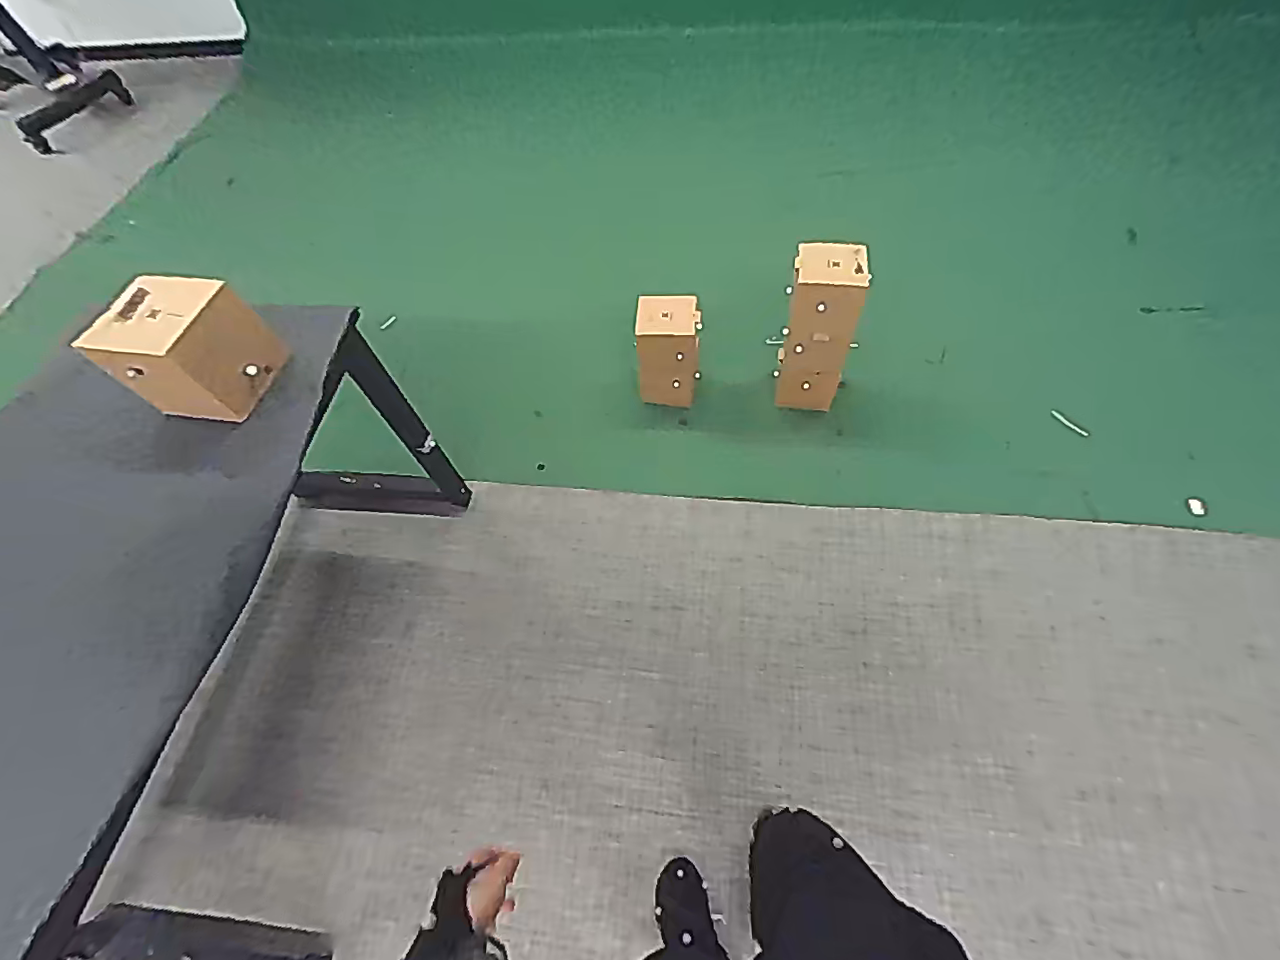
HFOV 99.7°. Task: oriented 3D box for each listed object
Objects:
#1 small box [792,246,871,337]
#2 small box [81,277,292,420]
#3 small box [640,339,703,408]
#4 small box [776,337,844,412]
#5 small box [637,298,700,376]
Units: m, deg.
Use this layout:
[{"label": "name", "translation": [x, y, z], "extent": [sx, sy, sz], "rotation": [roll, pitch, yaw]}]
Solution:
[{"label": "small box", "translation": [0.511, -0.506, 1.462], "extent": [0.179, 0.176, 0.168], "rotation": [6, 59, 9]}, {"label": "small box", "translation": [-0.752, -0.219, 0.919], "extent": [0.179, 0.176, 0.168], "rotation": [7, 61, 11]}, {"label": "small box", "translation": [0.106, -0.358, 1.788], "extent": [0.179, 0.176, 0.168], "rotation": [9, 60, 10]}, {"label": "small box", "translation": [0.545, -0.336, 1.741], "extent": [0.179, 0.176, 0.168], "rotation": [7, 61, 9]}, {"label": "small box", "translation": [0.091, -0.431, 1.644], "extent": [0.179, 0.176, 0.168], "rotation": [1, 59, 7]}]
